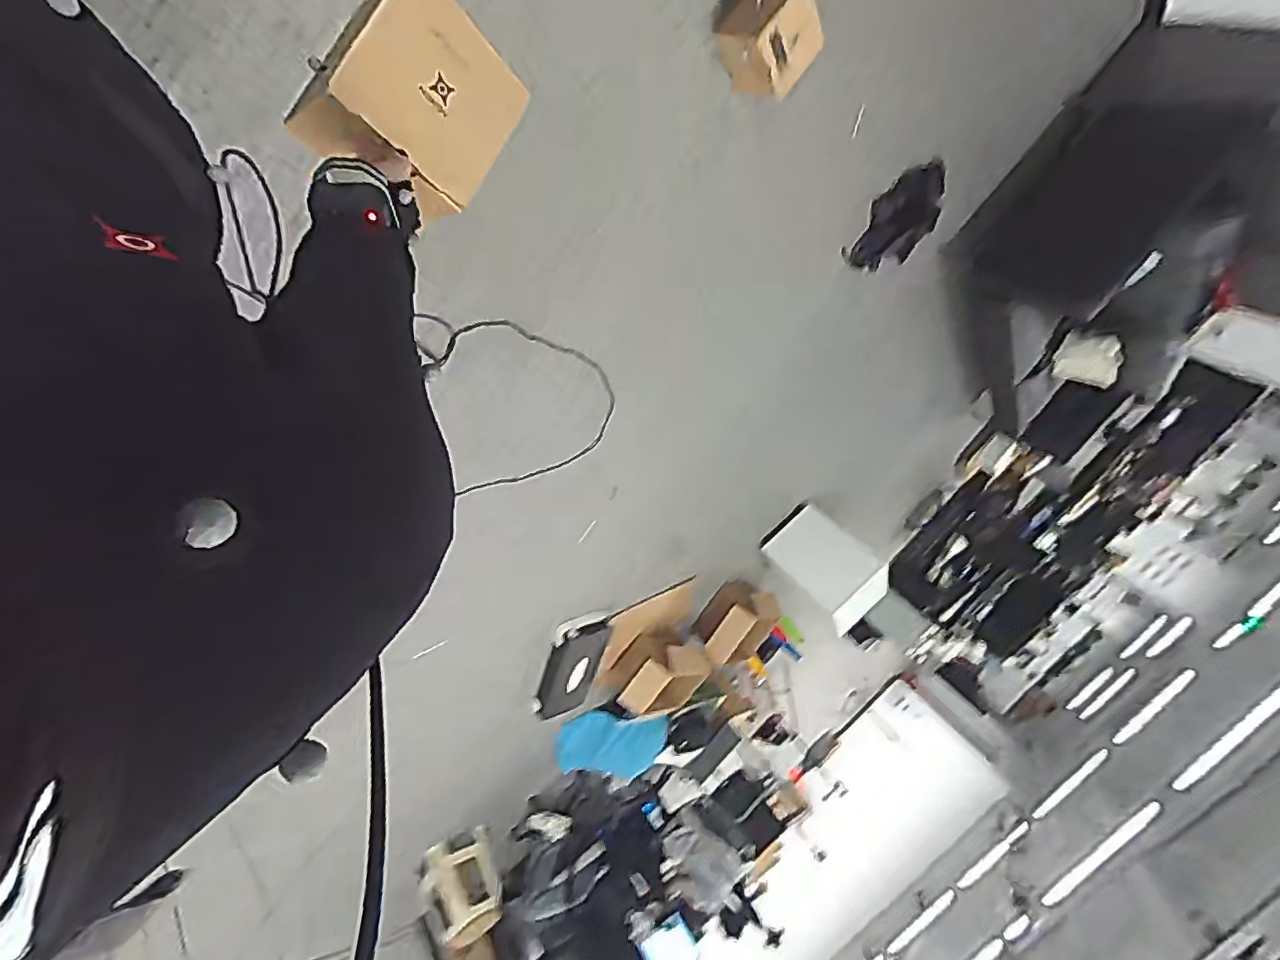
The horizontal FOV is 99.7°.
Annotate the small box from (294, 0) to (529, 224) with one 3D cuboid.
[{"bbox_3d":[-0.269,-0.426,0.629,0.168,0.176,0.179,33,79,-47],"label":"small box"}]
